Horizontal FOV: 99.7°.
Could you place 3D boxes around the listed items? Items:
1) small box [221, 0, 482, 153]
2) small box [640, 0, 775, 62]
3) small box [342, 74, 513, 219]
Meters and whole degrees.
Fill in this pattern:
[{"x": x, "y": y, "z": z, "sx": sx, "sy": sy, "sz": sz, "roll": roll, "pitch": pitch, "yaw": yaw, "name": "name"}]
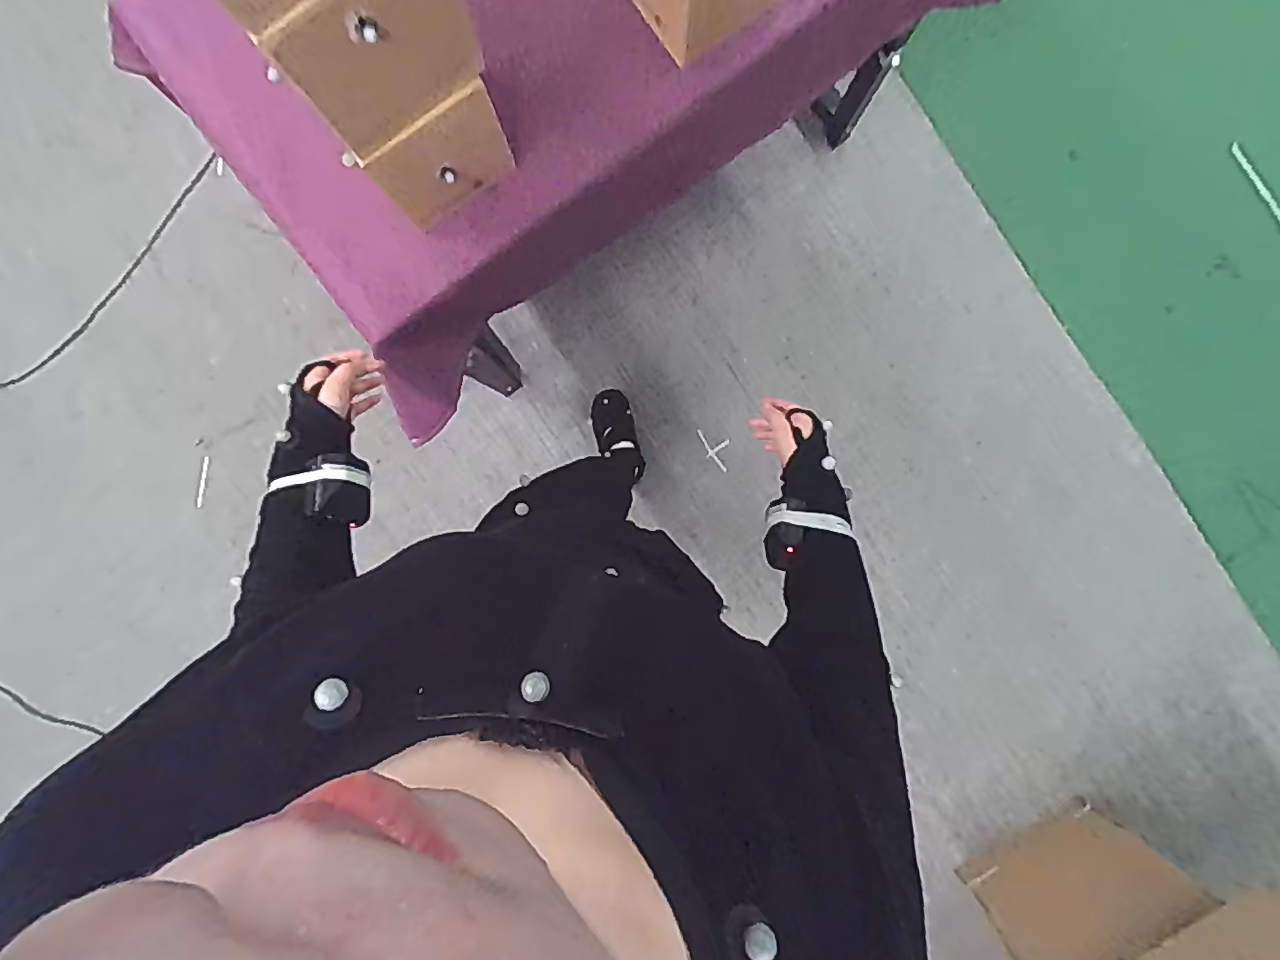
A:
[{"x": -0.280, "y": -0.459, "z": 0.507, "sx": 0.179, "sy": 0.176, "sz": 0.168, "roll": -35, "pitch": 92, "yaw": 0, "name": "small box"}, {"x": 0.082, "y": -0.681, "z": 0.666, "sx": 0.179, "sy": 0.176, "sz": 0.168, "roll": -35, "pitch": 91, "yaw": 0, "name": "small box"}, {"x": -0.283, "y": -0.458, "z": 0.670, "sx": 0.168, "sy": 0.176, "sz": 0.179, "roll": -34, "pitch": 90, "yaw": 0, "name": "small box"}]
